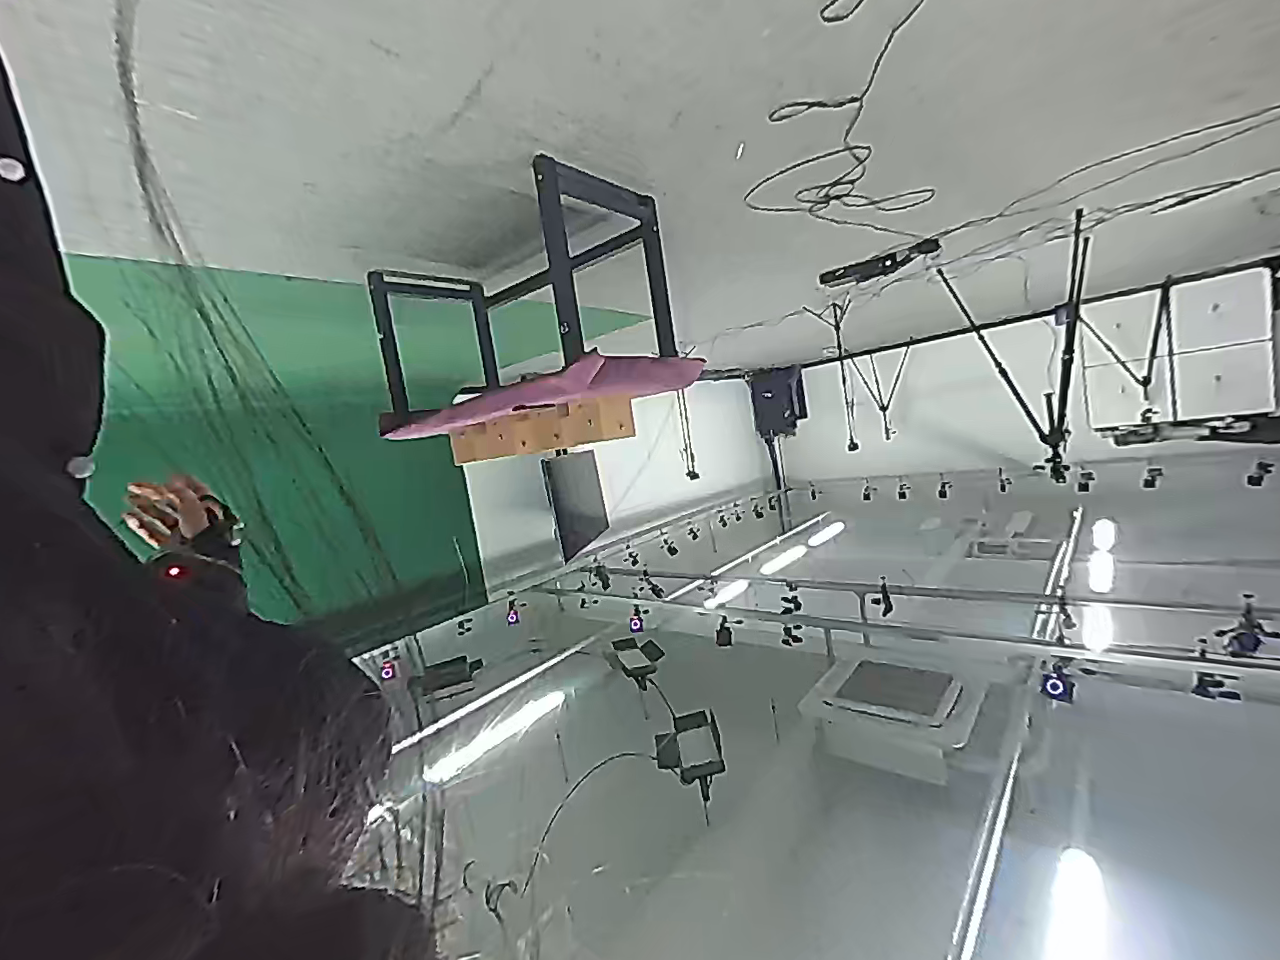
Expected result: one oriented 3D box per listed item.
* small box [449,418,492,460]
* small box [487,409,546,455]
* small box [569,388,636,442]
[{"bbox_3d":[-0.743,-0.191,2.472,0.168,0.176,0.179,-7,-175,34],"label":"small box"},{"bbox_3d":[-0.534,-0.208,2.318,0.168,0.176,0.179,-5,-173,36],"label":"small box"},{"bbox_3d":[-0.142,-0.243,2.008,0.168,0.176,0.179,-5,-173,42],"label":"small box"}]
